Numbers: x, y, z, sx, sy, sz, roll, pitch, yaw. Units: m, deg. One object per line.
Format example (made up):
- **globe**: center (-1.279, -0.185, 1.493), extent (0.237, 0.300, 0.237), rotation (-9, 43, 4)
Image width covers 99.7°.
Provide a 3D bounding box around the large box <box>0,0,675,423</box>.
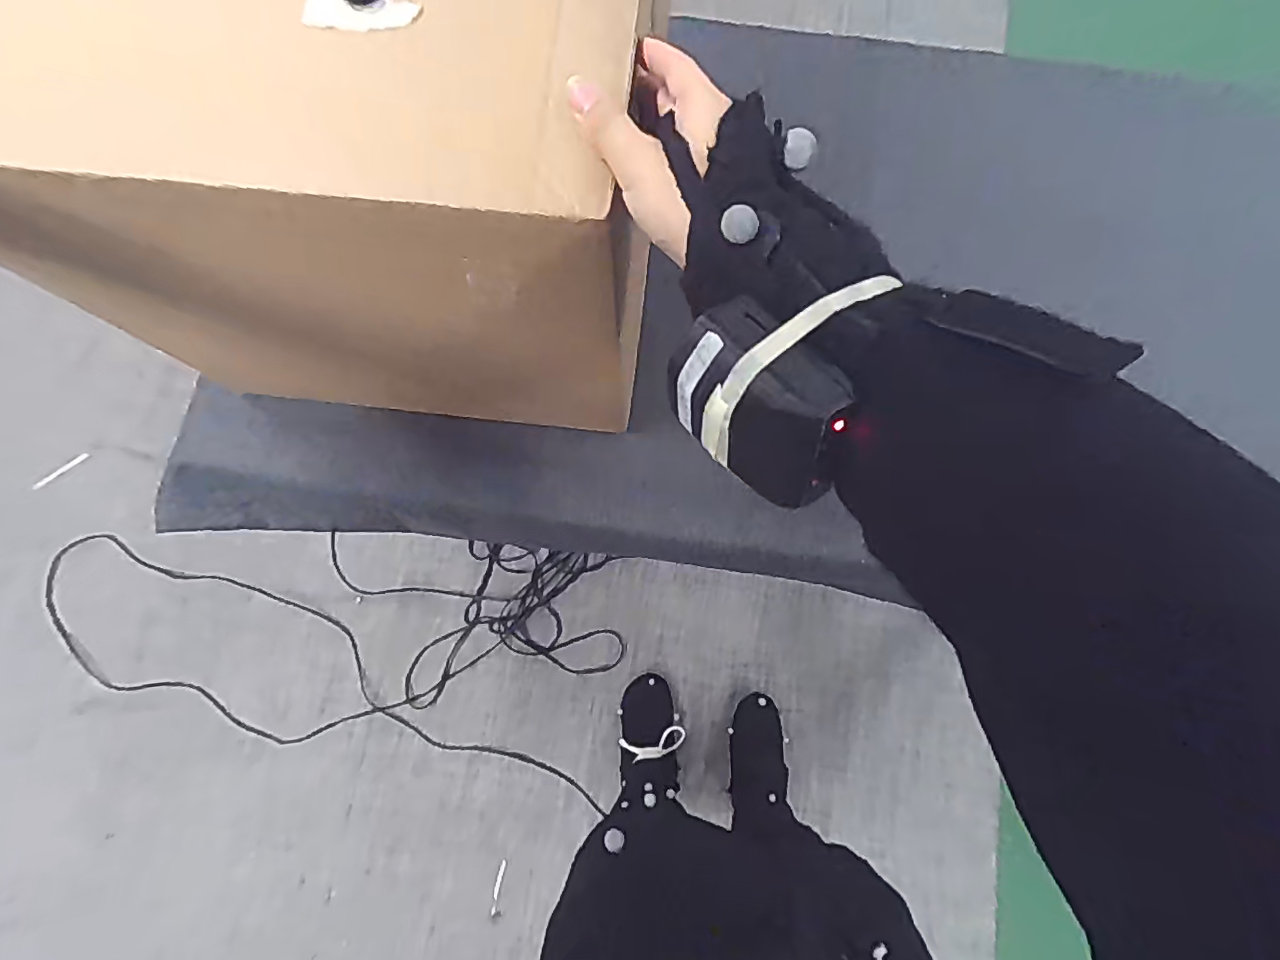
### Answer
- **large box**: center (-0.187, -0.253, 0.440), extent (0.408, 0.320, 0.320), rotation (6, 77, 0)
